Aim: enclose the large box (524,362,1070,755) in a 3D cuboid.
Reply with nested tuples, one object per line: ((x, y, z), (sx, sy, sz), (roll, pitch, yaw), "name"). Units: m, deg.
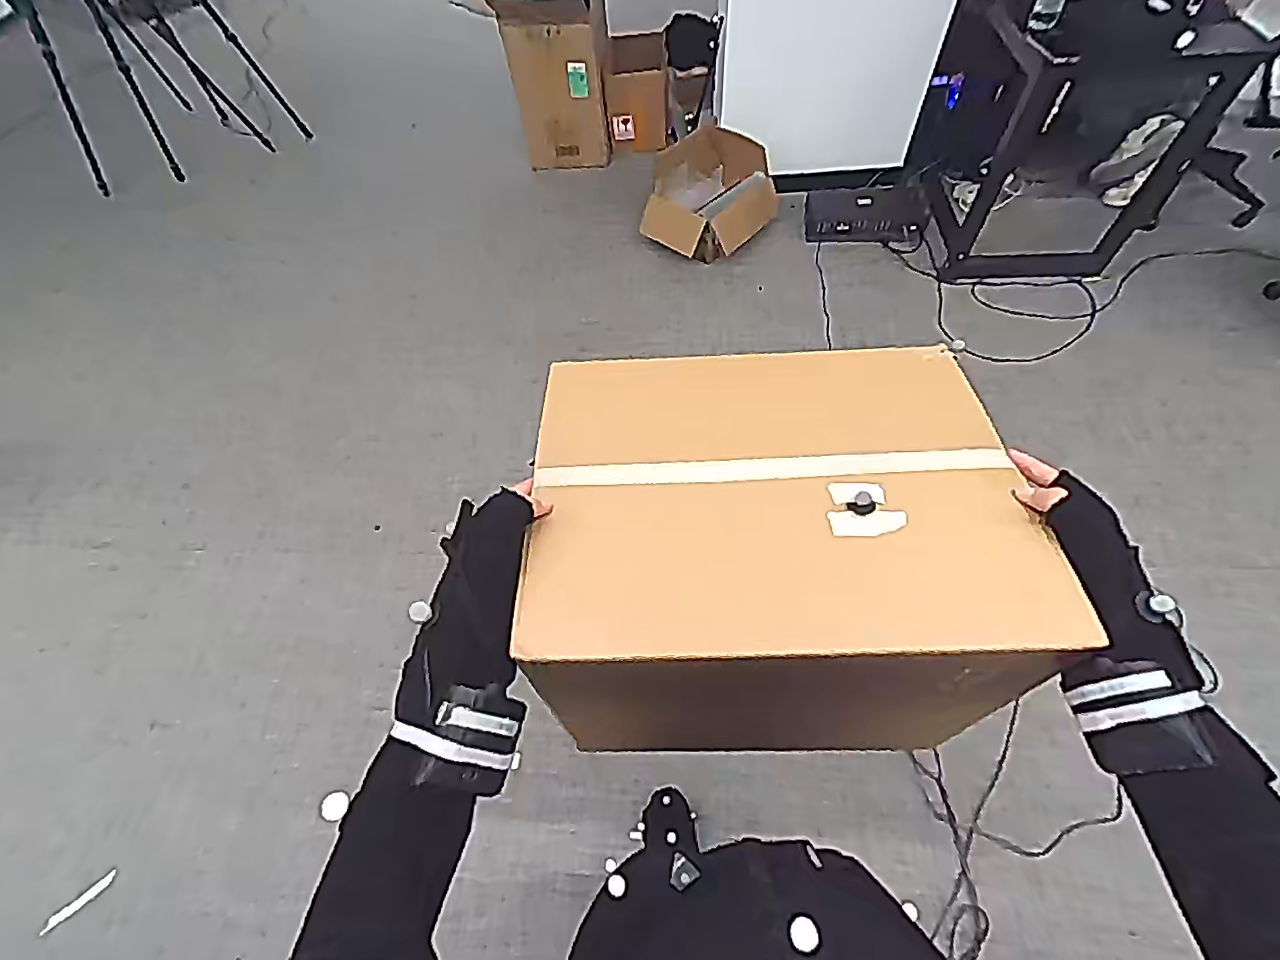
((0.115, 0.096, 0.597), (0.408, 0.320, 0.320), (-2, 52, 2), "large box")
